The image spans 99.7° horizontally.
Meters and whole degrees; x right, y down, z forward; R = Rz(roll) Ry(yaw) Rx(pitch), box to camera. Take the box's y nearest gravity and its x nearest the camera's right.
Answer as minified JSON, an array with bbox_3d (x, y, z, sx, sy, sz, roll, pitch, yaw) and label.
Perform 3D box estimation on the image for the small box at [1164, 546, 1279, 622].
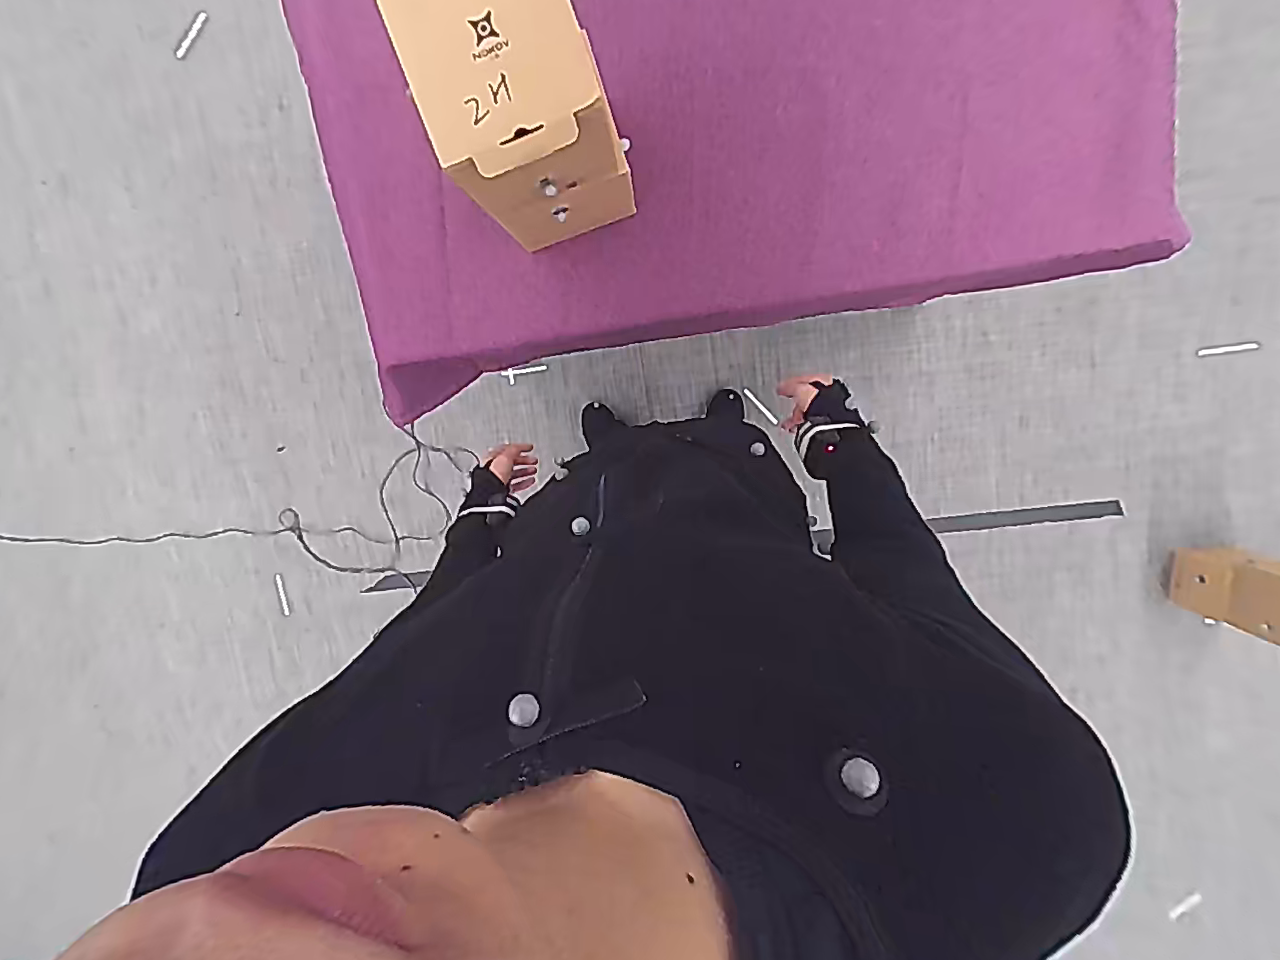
[{"bbox_3d":[1.641,0.289,1.522,0.179,0.176,0.168,-3,100,3],"label":"small box"}]

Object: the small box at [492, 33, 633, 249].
[{"bbox_3d":[-0.117,-0.435,0.730,0.179,0.176,0.168,-18,99,5],"label":"small box"}]

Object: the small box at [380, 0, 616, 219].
[{"bbox_3d":[-0.134,-0.410,0.568,0.168,0.176,0.179,-19,99,6],"label":"small box"}]
